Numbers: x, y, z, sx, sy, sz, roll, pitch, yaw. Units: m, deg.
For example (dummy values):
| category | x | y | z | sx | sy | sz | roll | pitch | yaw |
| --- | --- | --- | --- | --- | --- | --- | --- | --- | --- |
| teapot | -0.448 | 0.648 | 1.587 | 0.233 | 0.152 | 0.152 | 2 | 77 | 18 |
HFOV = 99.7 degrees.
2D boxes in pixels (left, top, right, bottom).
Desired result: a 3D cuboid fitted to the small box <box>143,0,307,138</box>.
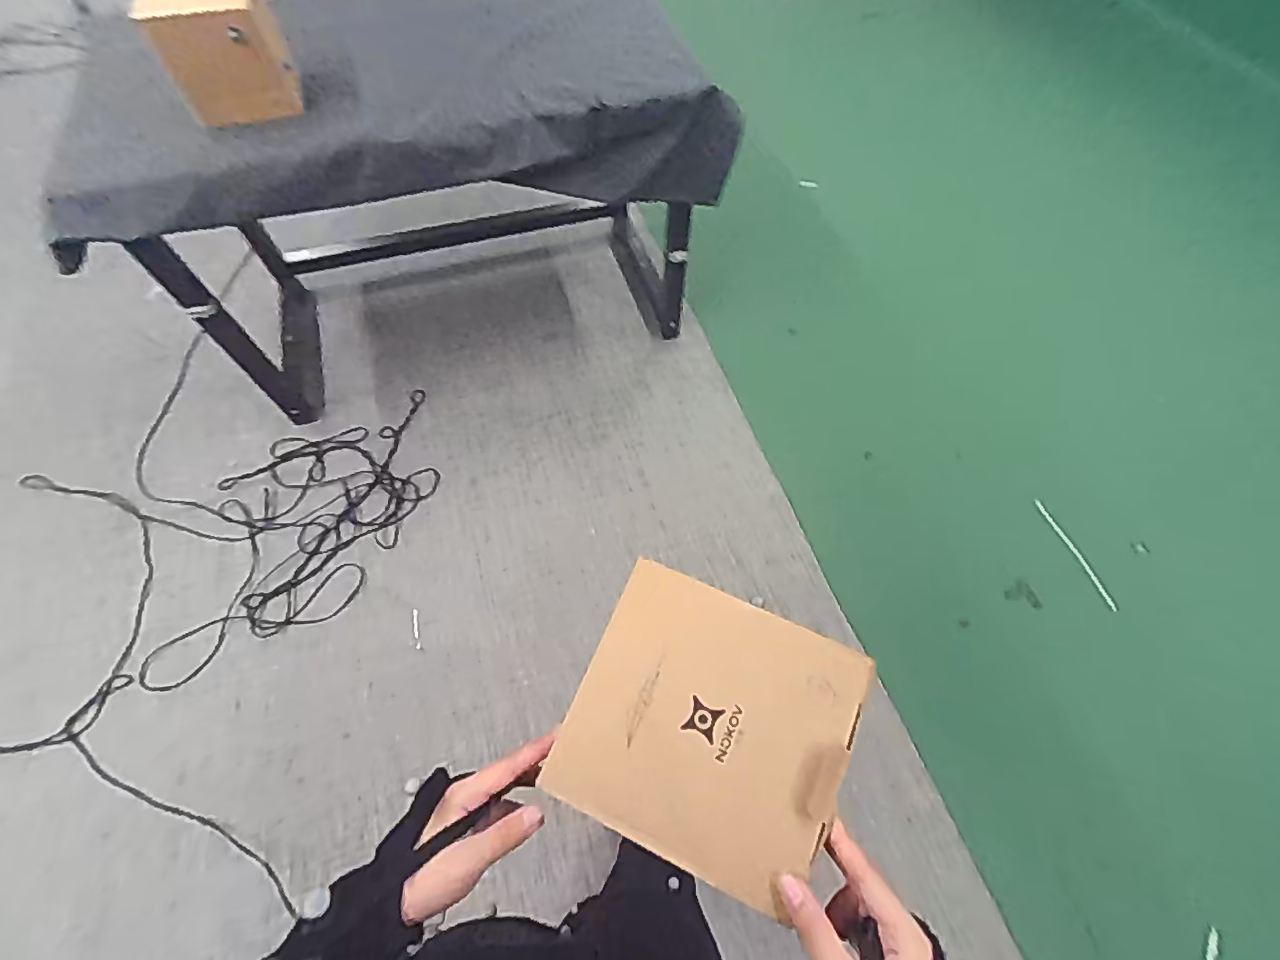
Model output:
| category | x | y | z | sx | sy | sz | roll | pitch | yaw |
| --- | --- | --- | --- | --- | --- | --- | --- | --- | --- |
| small box | -0.745 | -0.759 | 0.991 | 0.179 | 0.176 | 0.168 | -16 | 62 | -10 |

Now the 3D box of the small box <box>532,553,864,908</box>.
| category | x | y | z | sx | sy | sz | roll | pitch | yaw |
| --- | --- | --- | --- | --- | --- | --- | --- | --- | --- |
| small box | 0.047 | 0.179 | 0.429 | 0.179 | 0.176 | 0.168 | 20 | 72 | 13 |
